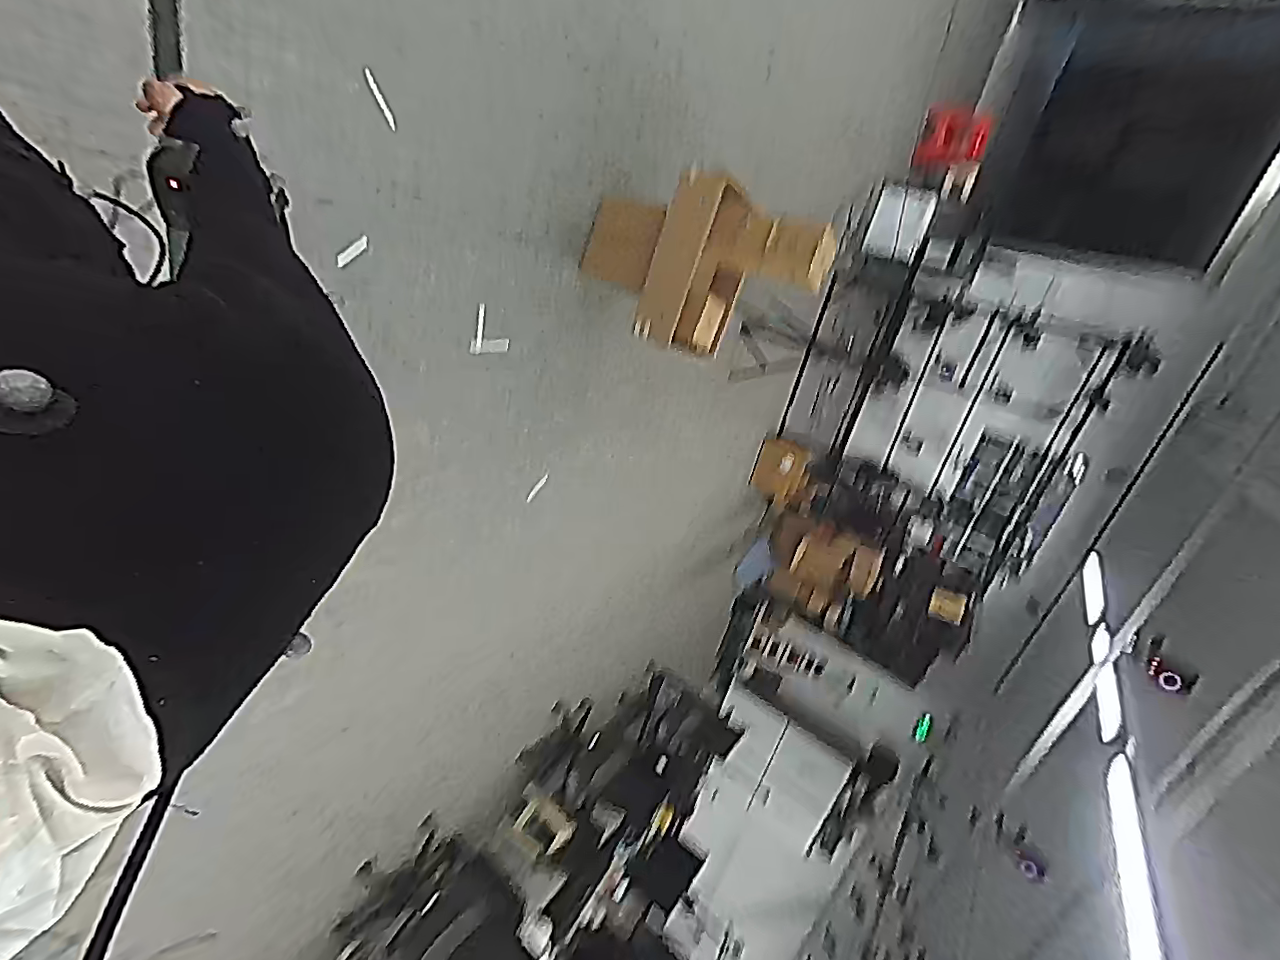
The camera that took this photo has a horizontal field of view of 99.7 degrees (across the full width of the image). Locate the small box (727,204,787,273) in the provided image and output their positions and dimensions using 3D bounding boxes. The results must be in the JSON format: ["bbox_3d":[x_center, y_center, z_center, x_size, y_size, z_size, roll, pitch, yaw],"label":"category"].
[{"bbox_3d":[0.437,-0.875,1.958,0.179,0.176,0.168,7,108,-61],"label":"small box"}]

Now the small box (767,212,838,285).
[{"bbox_3d":[0.562,-0.806,1.875,0.179,0.176,0.168,15,101,-60],"label":"small box"}]
